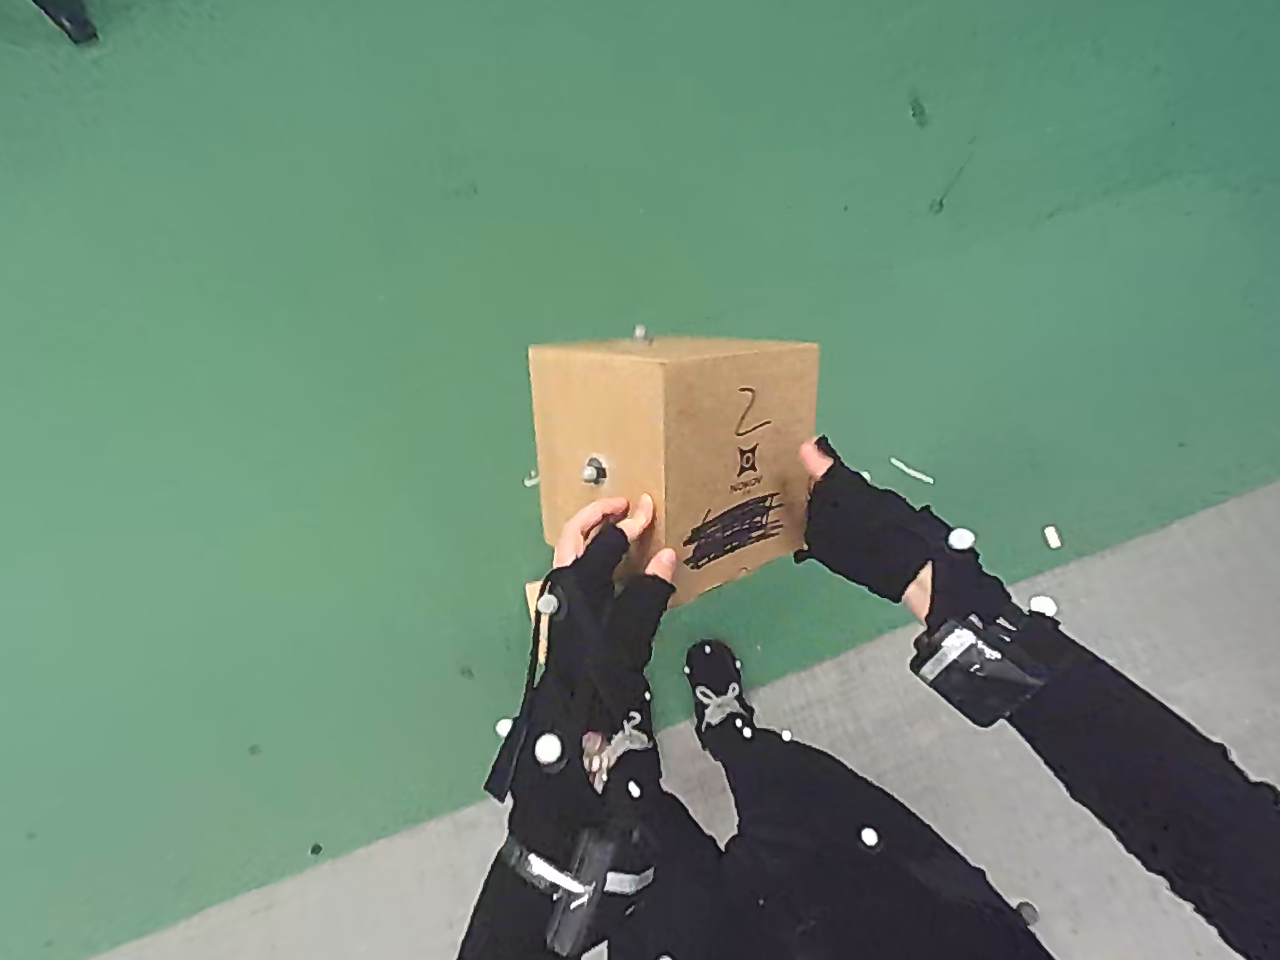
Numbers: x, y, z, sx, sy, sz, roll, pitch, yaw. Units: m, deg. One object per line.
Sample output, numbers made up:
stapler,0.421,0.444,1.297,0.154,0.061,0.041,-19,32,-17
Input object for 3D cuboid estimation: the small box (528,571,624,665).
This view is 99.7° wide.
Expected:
small box,-0.137,0.304,1.209,0.179,0.176,0.168,-13,80,-3
